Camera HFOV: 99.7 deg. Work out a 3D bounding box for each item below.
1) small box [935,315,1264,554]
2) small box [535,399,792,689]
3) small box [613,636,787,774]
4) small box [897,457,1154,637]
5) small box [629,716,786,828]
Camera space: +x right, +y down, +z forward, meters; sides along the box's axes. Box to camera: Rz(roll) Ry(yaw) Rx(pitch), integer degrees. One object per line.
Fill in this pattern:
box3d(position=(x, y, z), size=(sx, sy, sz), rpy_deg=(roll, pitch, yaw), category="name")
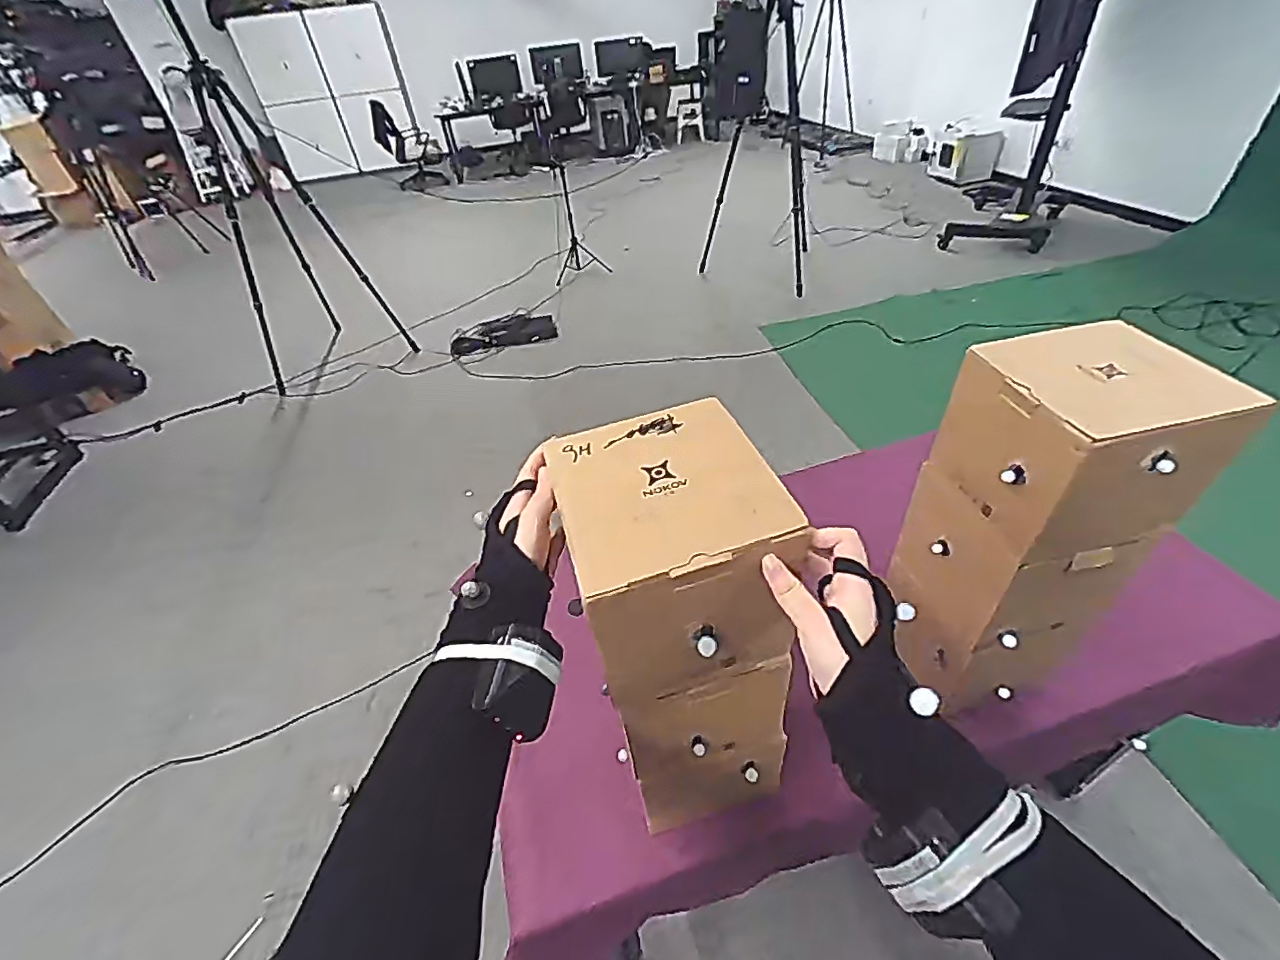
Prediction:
box3d(position=(0.435, -0.044, 0.558), size=(0.179, 0.176, 0.168), rpy_deg=(-11, 43, -4), category="small box")
box3d(position=(0.017, 0.061, 0.479), size=(0.168, 0.176, 0.179), rpy_deg=(-16, 44, -7), category="small box")
box3d(position=(0.047, 0.192, 0.608), size=(0.168, 0.176, 0.179), rpy_deg=(-14, 42, -7), category="small box")
box3d(position=(0.451, 0.073, 0.670), size=(0.168, 0.176, 0.179), rpy_deg=(-13, 41, -4), category="small box")
box3d(position=(0.071, 0.319, 0.709), size=(0.179, 0.176, 0.168), rpy_deg=(-15, 41, -7), category="small box")
